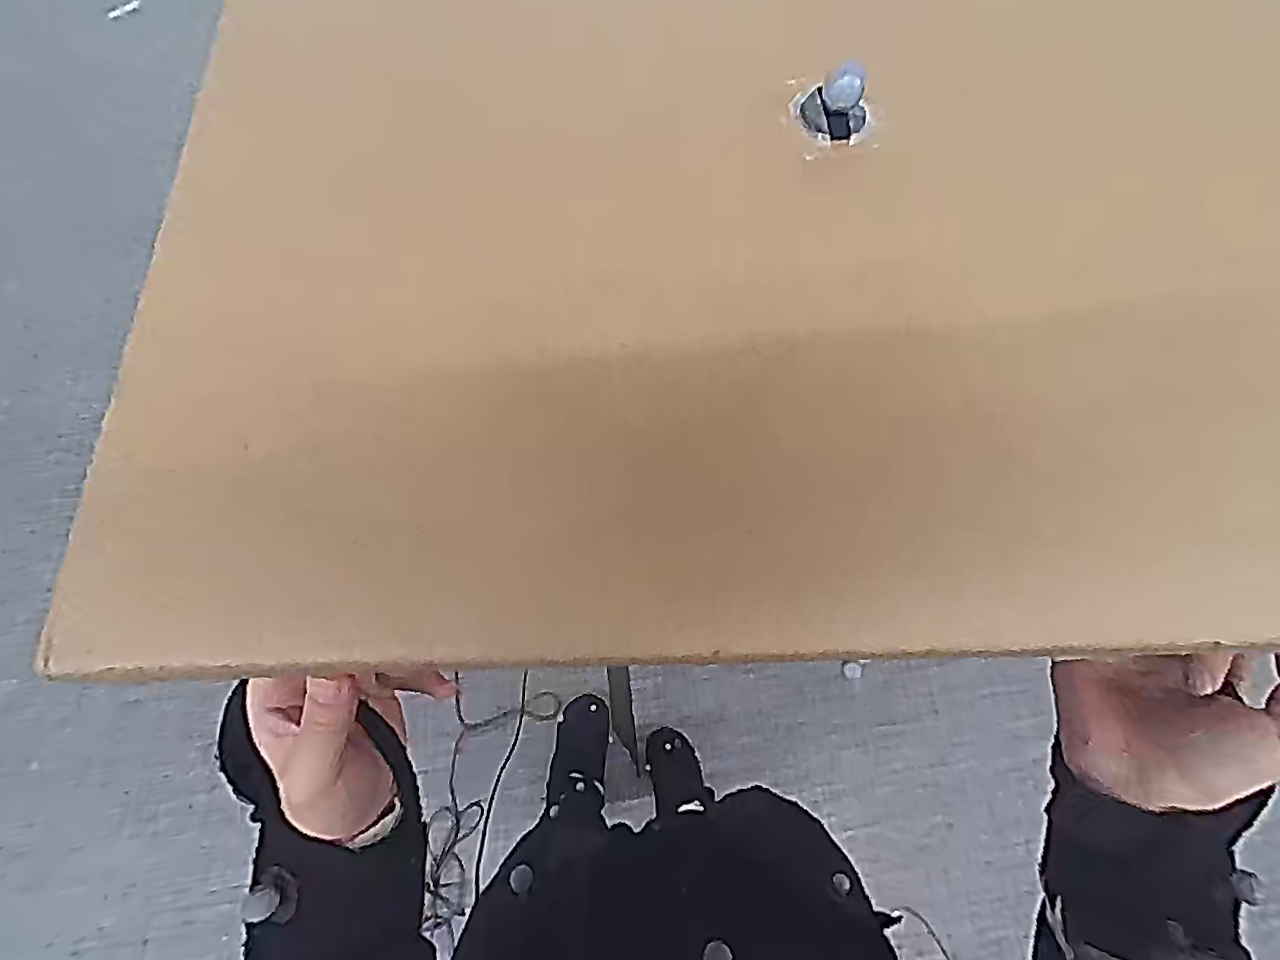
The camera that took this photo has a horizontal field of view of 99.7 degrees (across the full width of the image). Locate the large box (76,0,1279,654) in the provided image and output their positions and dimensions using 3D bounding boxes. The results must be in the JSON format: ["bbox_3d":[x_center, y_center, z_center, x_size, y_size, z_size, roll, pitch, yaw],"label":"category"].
[{"bbox_3d":[0.051,-0.070,0.316,0.408,0.320,0.320,-1,74,-2],"label":"large box"}]
